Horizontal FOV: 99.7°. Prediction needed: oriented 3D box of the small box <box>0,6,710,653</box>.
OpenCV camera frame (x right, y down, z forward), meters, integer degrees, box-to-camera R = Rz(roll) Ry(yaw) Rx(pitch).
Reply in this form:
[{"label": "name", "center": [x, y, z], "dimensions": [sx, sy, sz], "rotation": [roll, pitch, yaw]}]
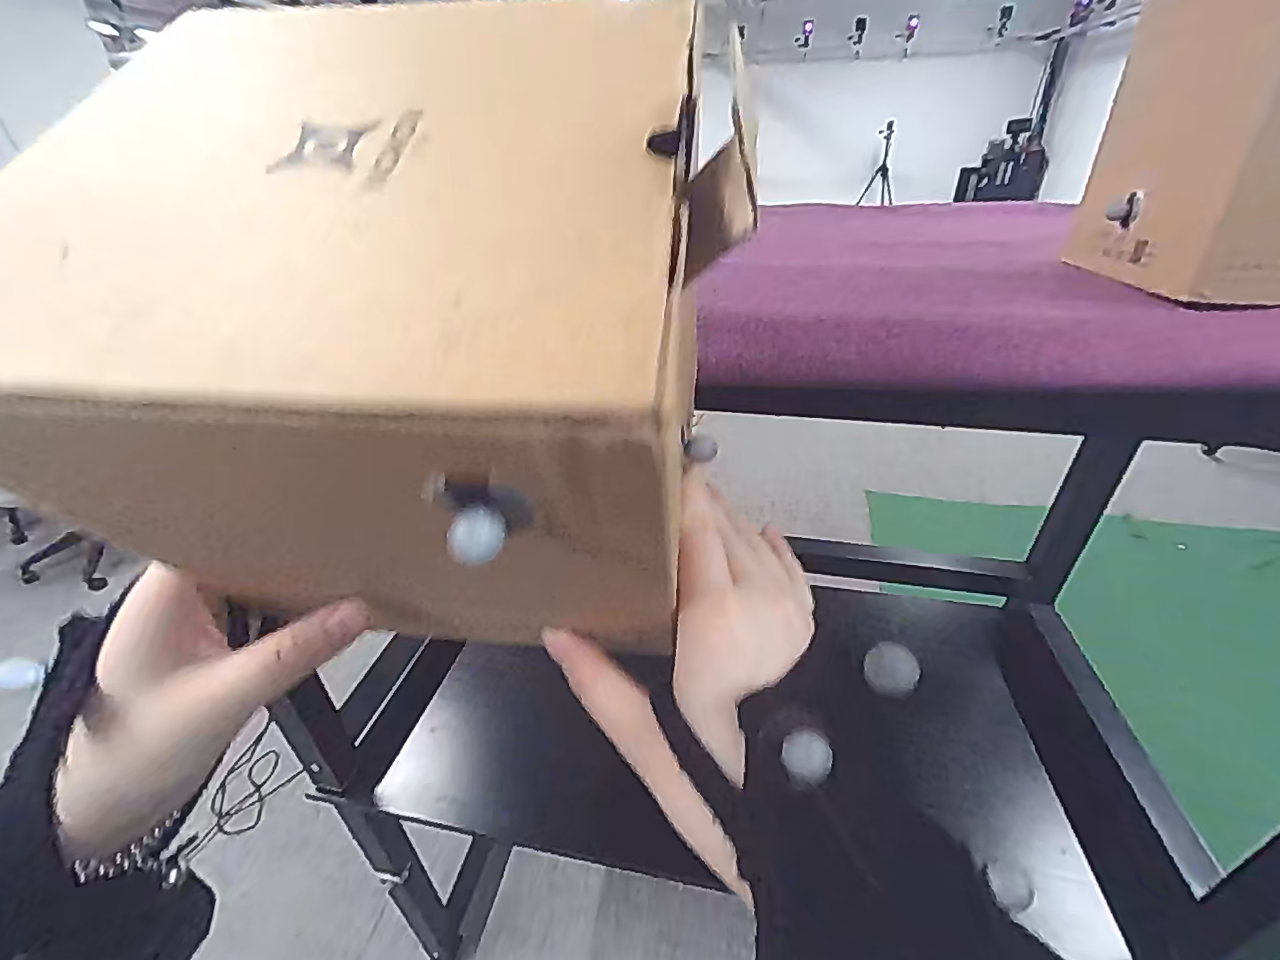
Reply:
[{"label": "small box", "center": [-0.066, -0.038, 0.205], "dimensions": [0.179, 0.176, 0.168], "rotation": [2, 61, 5]}]
